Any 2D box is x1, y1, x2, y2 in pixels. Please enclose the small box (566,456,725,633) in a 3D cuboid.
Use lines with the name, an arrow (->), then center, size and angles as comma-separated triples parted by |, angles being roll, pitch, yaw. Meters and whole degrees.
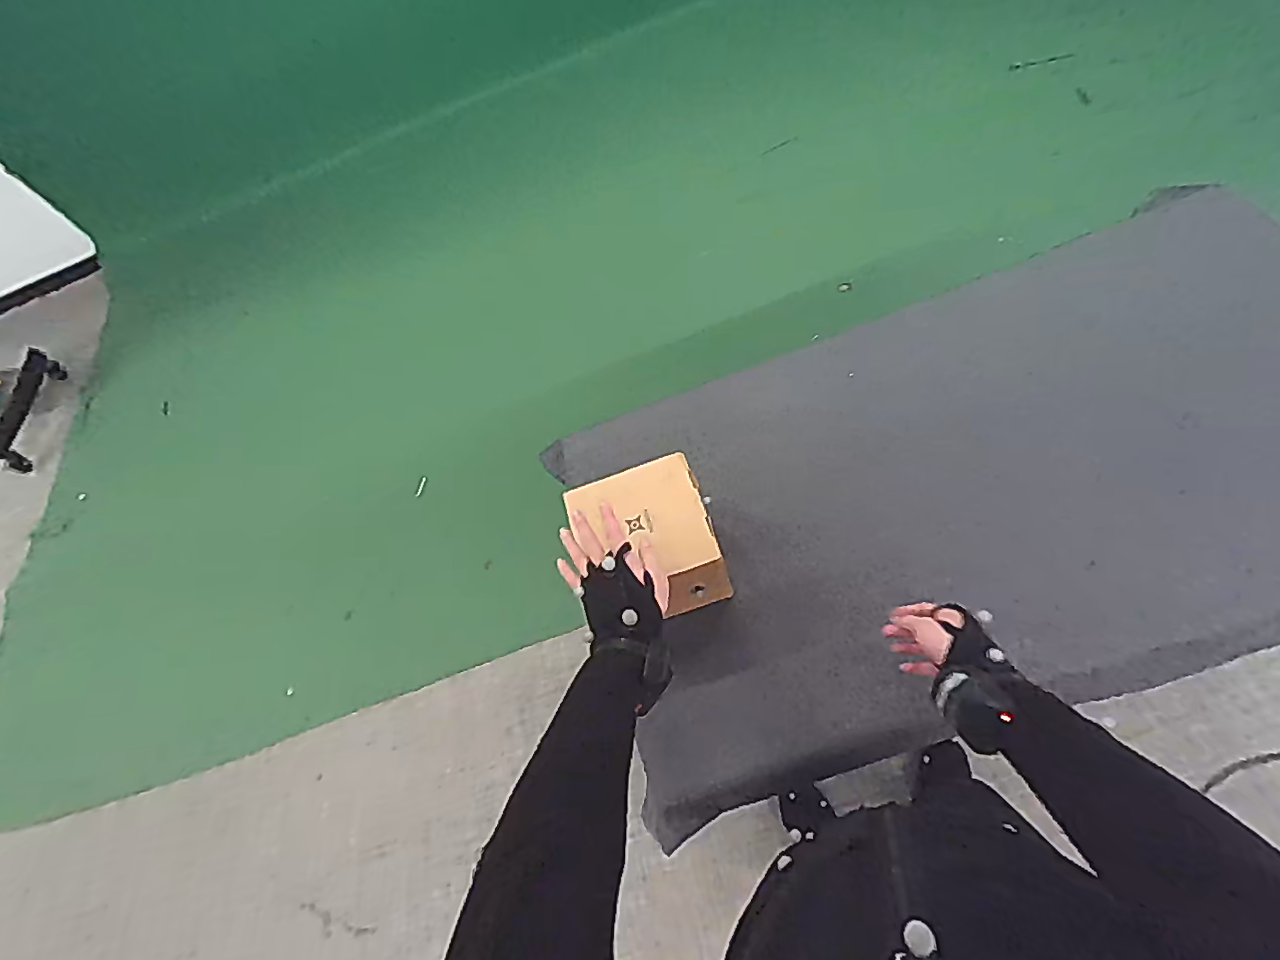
small box -> 0.015, 0.097, 0.756 | 0.179, 0.176, 0.168 | -18, 58, 4
